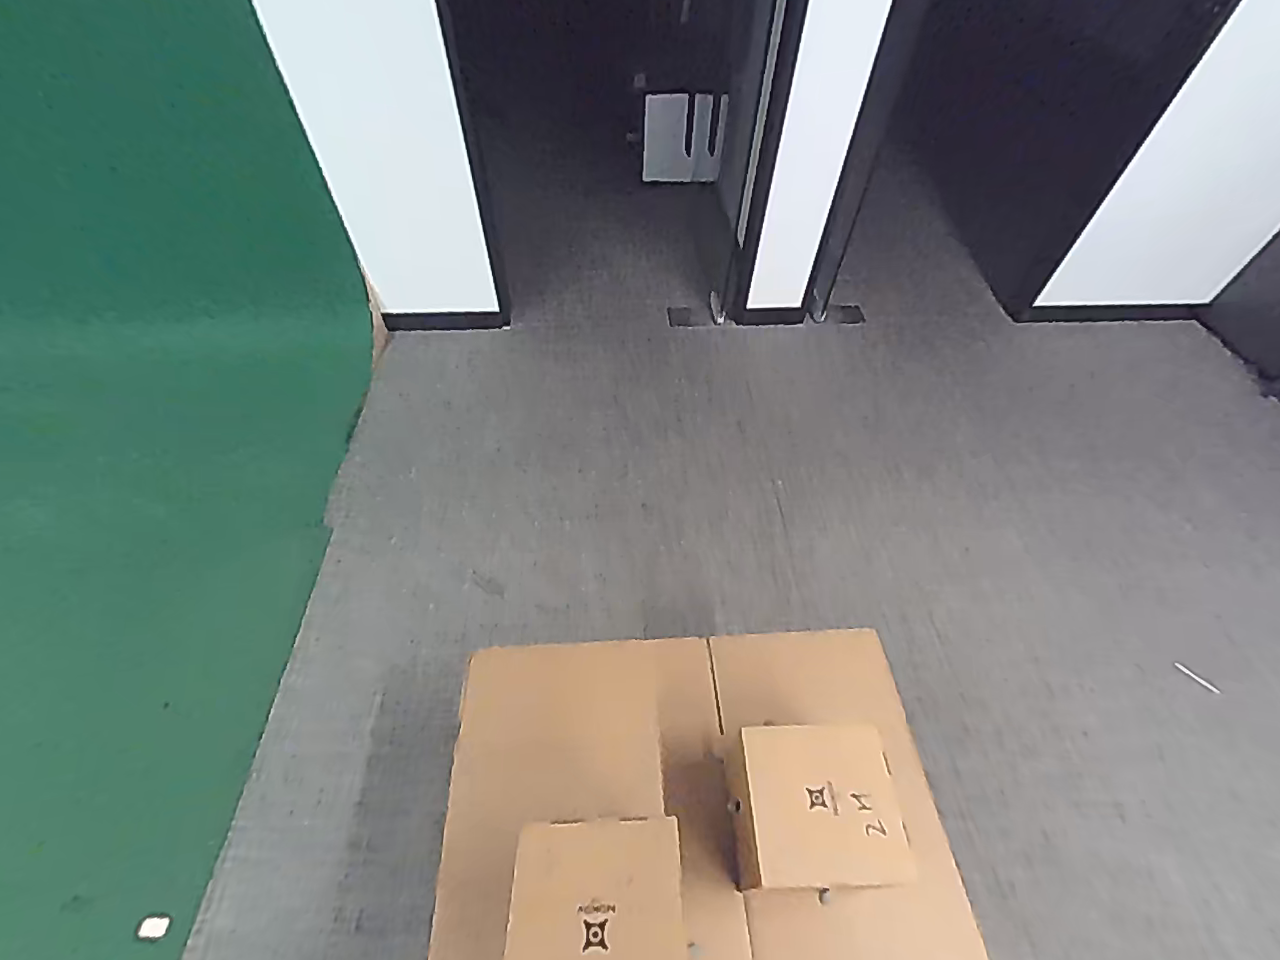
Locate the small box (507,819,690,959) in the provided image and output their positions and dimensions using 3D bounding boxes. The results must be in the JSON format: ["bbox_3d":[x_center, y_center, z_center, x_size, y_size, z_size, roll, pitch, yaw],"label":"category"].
[{"bbox_3d":[-0.036,0.475,0.545,0.168,0.176,0.179,-3,36,0],"label":"small box"}]

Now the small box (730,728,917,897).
[{"bbox_3d":[0.213,0.426,0.690,0.179,0.176,0.168,-1,51,0],"label":"small box"}]
